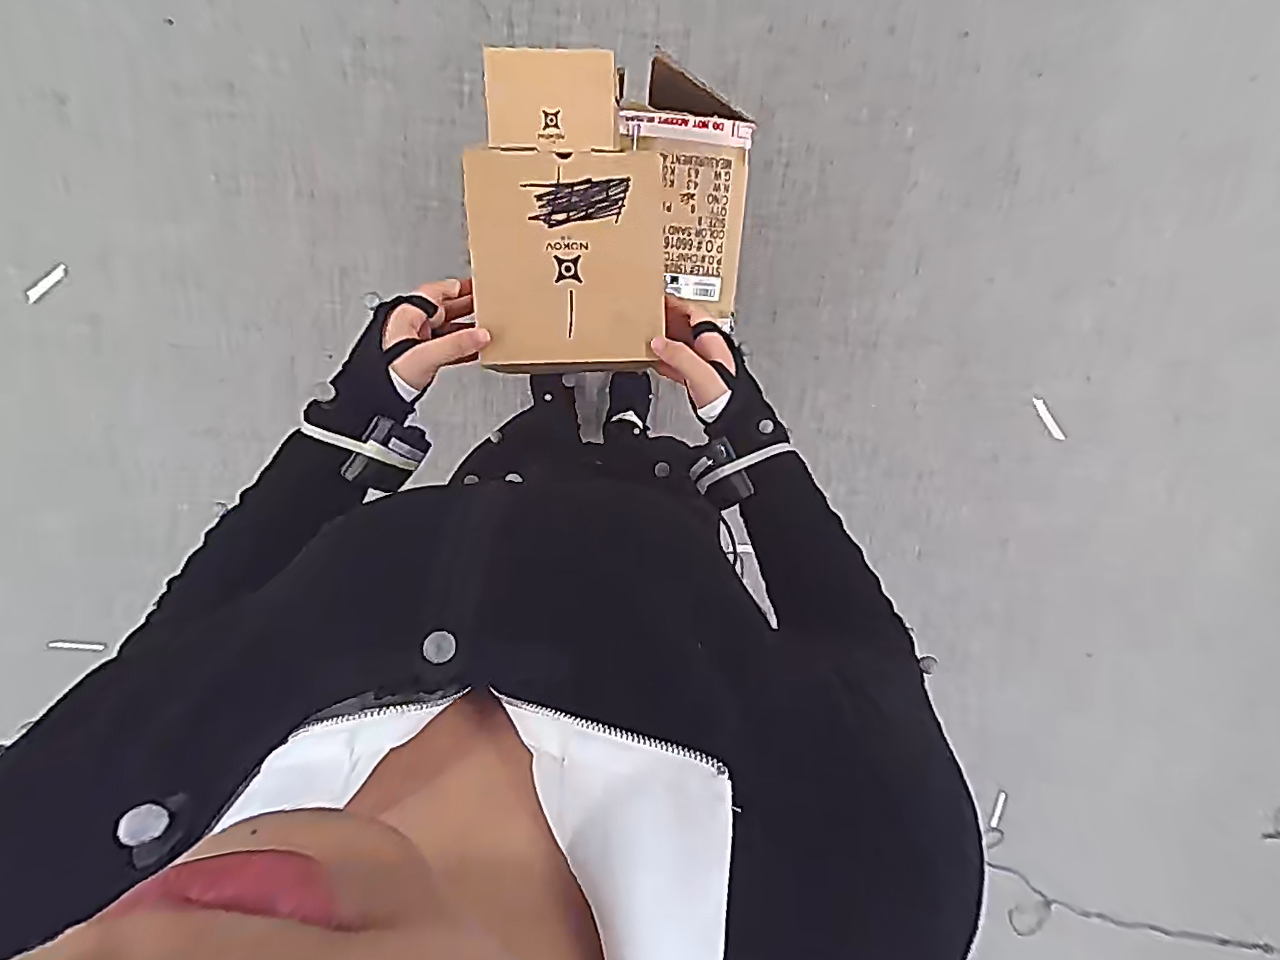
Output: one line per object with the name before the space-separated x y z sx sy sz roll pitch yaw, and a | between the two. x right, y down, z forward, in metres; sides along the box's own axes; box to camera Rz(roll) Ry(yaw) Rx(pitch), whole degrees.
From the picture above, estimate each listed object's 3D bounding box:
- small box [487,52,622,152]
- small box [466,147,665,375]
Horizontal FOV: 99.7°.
small box | -0.113 -0.474 0.777 0.168 0.176 0.179 1 108 0
small box | -0.070 -0.199 0.538 0.168 0.176 0.179 -3 99 -6
